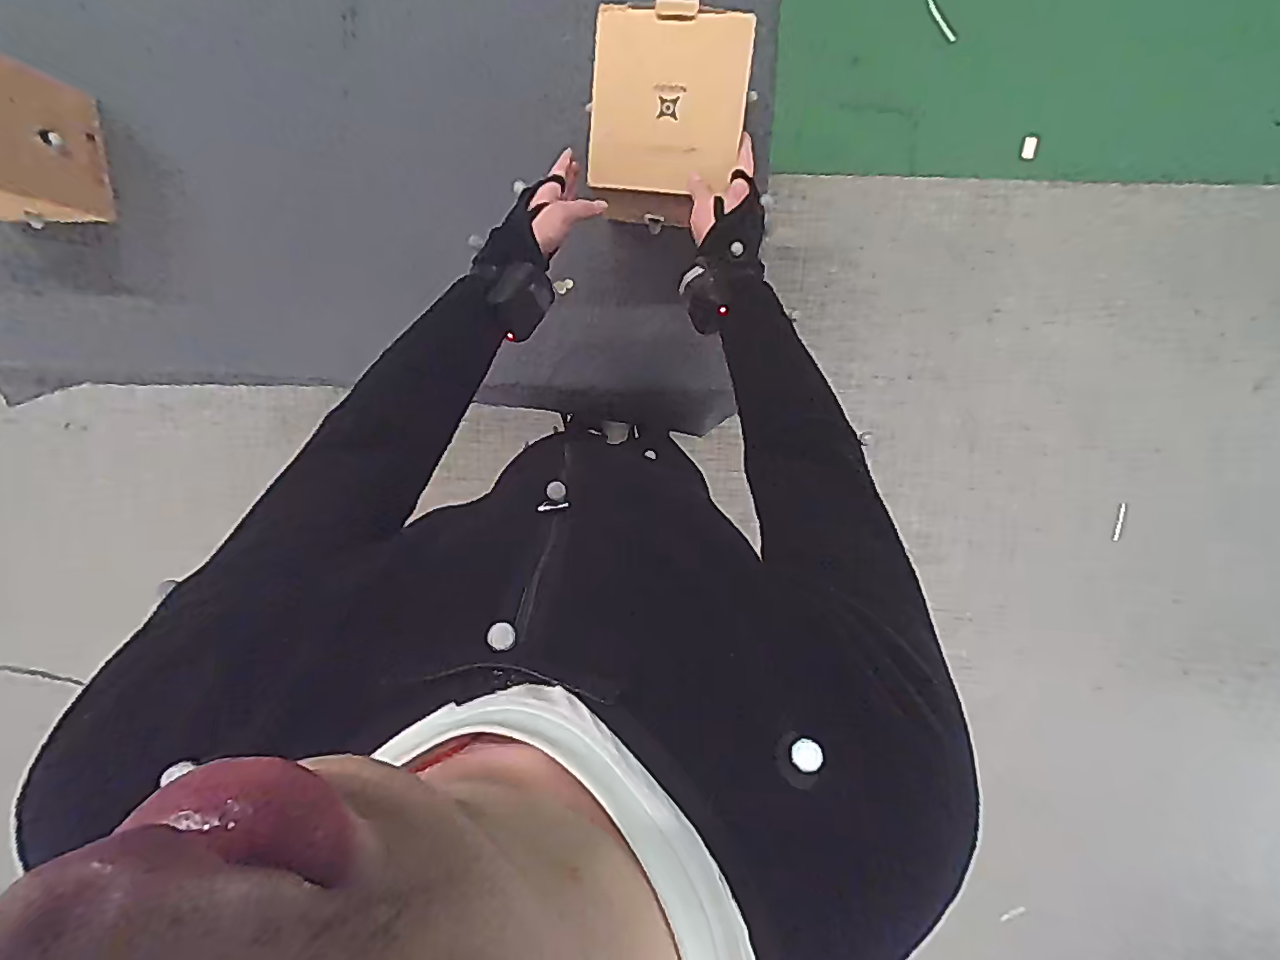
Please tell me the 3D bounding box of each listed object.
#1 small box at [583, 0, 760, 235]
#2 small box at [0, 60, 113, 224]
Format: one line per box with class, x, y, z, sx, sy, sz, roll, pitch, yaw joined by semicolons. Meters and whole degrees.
small box;0.036;-0.409;0.640;0.168;0.176;0.179;9;104;4
small box;-0.850;-0.443;0.707;0.179;0.176;0.168;2;103;2
